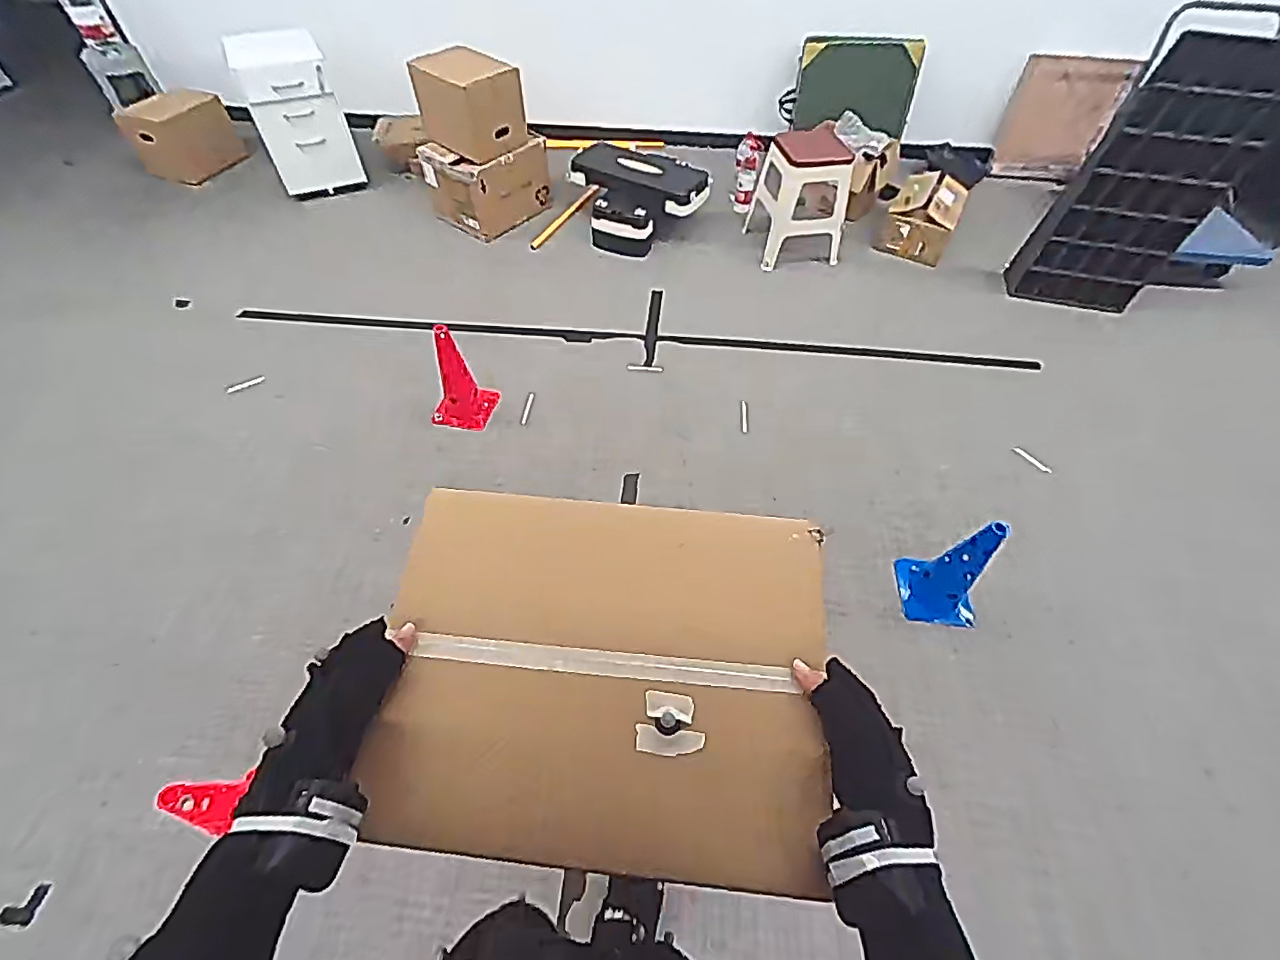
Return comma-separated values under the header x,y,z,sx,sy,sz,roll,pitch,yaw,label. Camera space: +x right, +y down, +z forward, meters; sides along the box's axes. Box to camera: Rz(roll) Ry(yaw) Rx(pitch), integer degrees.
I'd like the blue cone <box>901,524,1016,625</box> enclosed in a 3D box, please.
x,y,z,sx,sy,sz,roll,pitch,yaw,label
0.877,0.232,1.461,0.192,0.380,0.193,8,53,3,blue cone

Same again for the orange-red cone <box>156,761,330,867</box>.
x,y,z,sx,sy,sz,roll,pitch,yaw,label
-0.821,0.648,1.080,0.198,0.360,0.199,3,54,1,orange-red cone

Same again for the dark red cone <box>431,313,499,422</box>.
x,y,z,sx,sy,sz,roll,pitch,yaw,label
-0.626,-0.391,1.837,0.201,0.394,0.202,10,54,5,dark red cone

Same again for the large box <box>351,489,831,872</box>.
x,y,z,sx,sy,sz,roll,pitch,yaw,label
-0.031,0.226,0.636,0.408,0.320,0.320,5,65,3,large box
